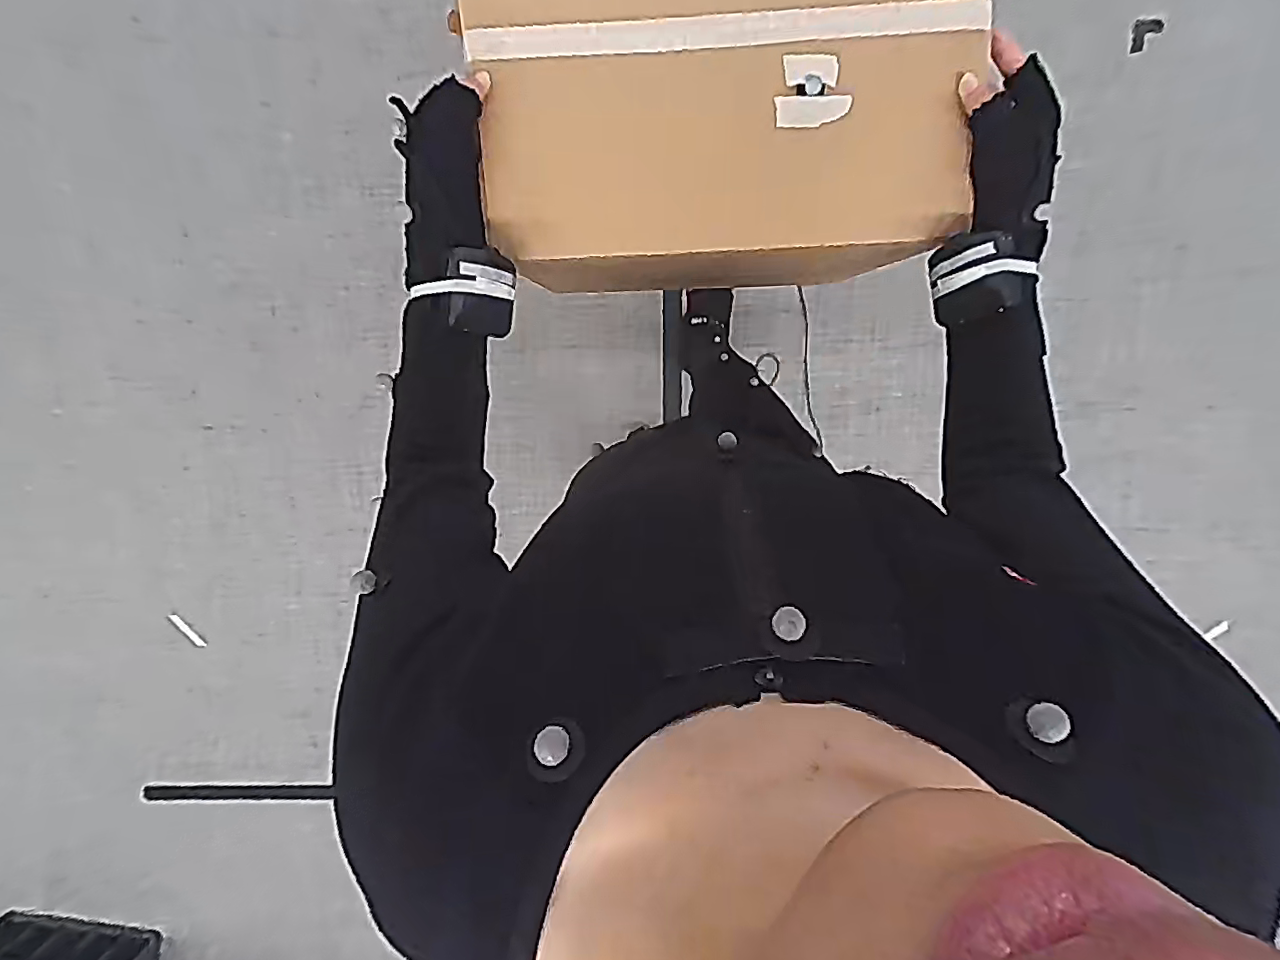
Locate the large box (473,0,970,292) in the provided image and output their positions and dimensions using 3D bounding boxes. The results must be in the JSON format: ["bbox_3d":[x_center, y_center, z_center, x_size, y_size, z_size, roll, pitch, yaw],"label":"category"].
[{"bbox_3d":[0.064,-0.391,0.582,0.408,0.320,0.320,-3,104,1],"label":"large box"}]
